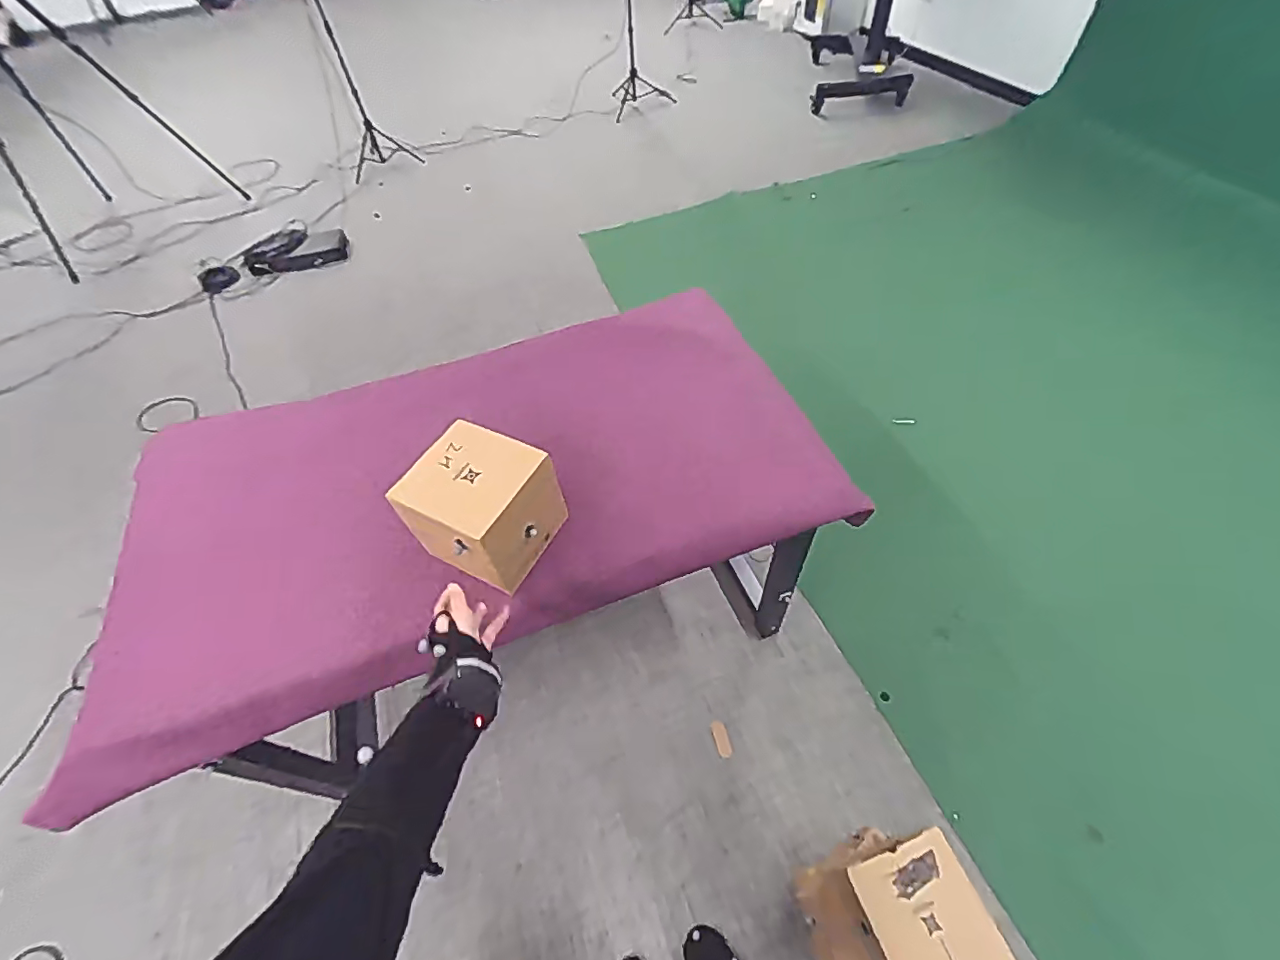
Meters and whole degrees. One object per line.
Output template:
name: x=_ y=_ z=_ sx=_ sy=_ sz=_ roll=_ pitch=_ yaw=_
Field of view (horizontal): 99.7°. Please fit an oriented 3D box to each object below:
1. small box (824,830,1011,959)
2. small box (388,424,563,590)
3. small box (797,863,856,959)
small box: x=0.407 y=0.668 z=0.825 sx=0.168 sy=0.176 sz=0.179 roll=-17 pitch=55 yaw=-9
small box: x=-0.239 y=0.047 z=0.838 sx=0.179 sy=0.176 sz=0.168 roll=21 pitch=56 yaw=20
small box: x=0.428 y=0.872 z=1.083 sx=0.179 sy=0.176 sz=0.168 roll=-11 pitch=53 yaw=-4
